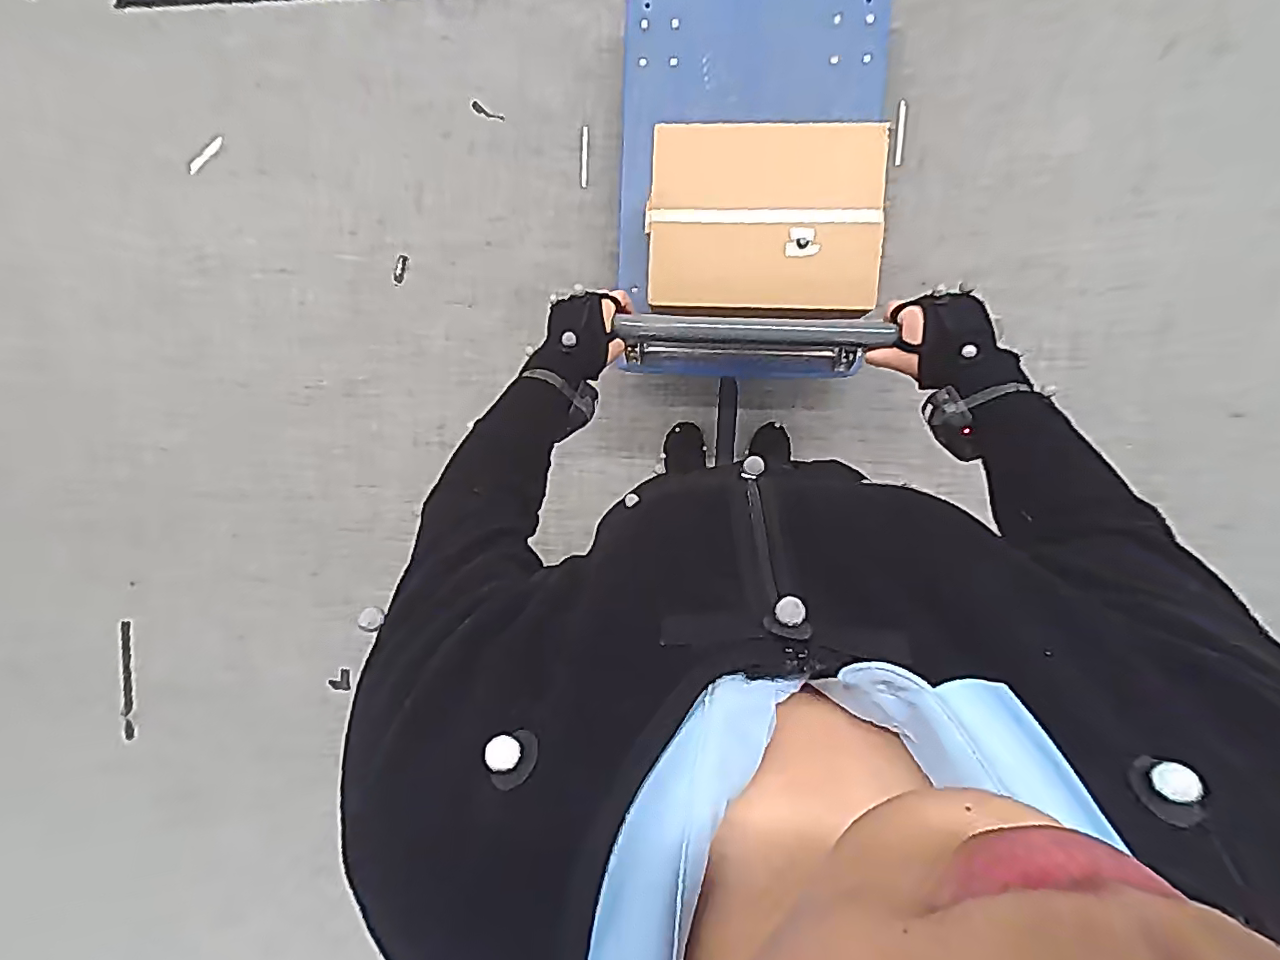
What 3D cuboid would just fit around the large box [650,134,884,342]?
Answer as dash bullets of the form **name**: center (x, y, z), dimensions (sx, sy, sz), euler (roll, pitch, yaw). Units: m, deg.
- **large box**: center (0.227, -0.462, 1.101), dimensions (0.408, 0.320, 0.320), euler (3, 97, 4)
